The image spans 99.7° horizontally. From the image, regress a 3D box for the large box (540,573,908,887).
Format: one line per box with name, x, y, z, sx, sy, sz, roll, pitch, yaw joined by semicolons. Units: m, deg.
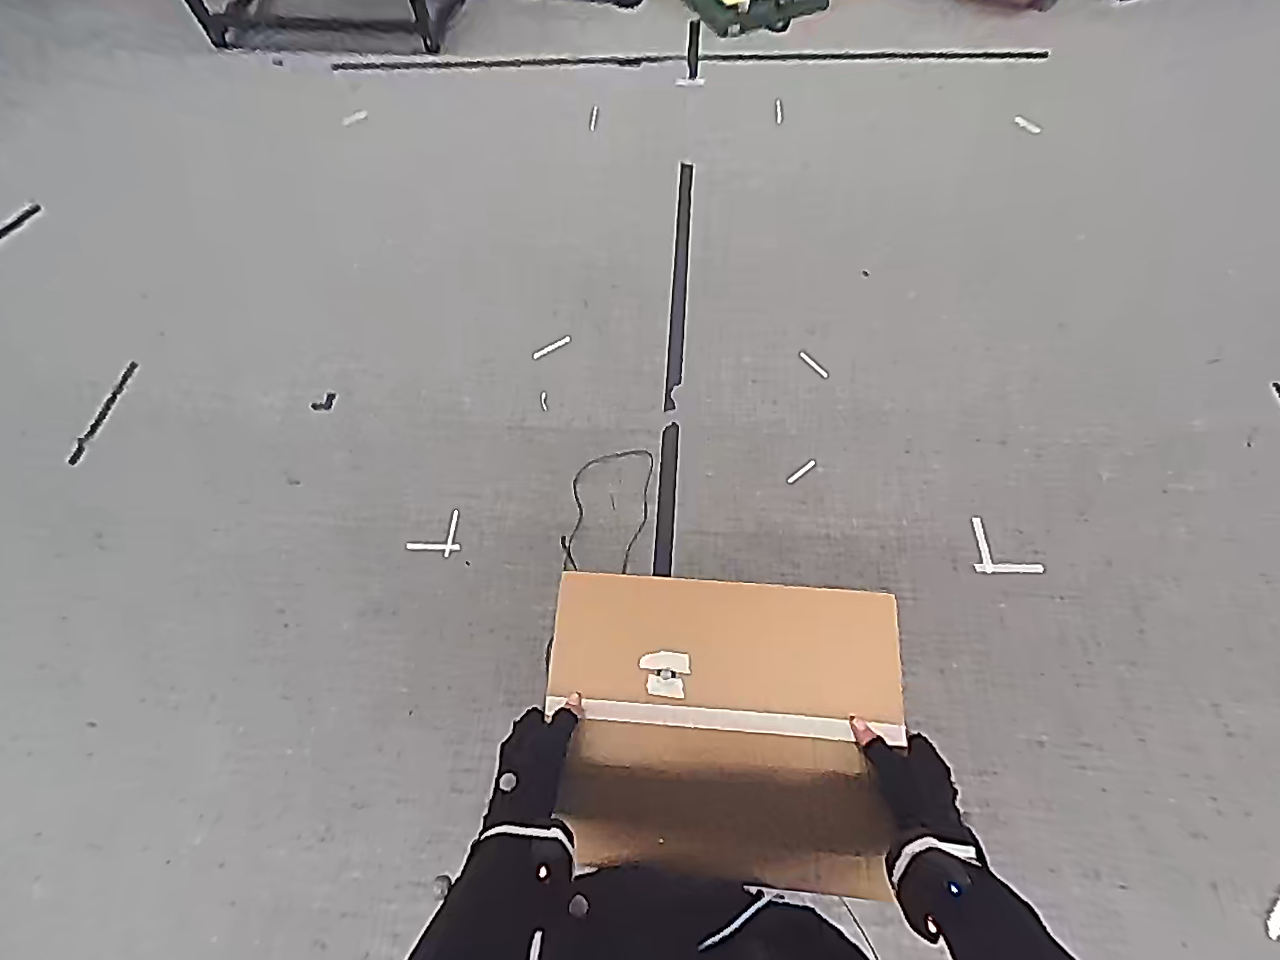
large box;0.108;0.314;0.767;0.408;0.320;0.320;3;73;6
